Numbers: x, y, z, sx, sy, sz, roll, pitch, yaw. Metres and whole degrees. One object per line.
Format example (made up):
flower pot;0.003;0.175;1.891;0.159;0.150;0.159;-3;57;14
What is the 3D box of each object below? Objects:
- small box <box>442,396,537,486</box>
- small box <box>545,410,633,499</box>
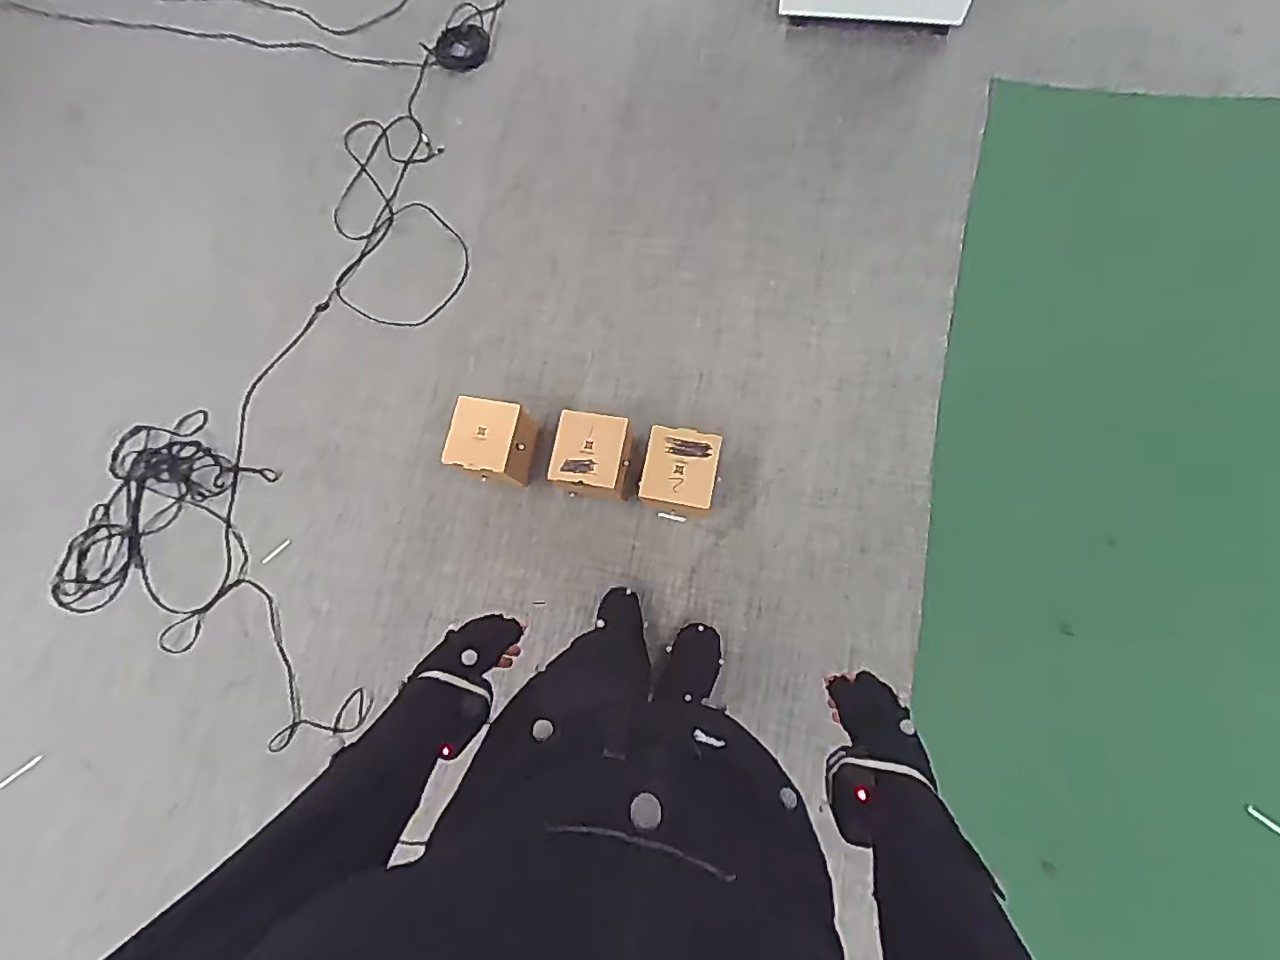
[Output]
small box;-0.379;-0.096;1.399;0.168;0.176;0.179;10;79;10
small box;-0.119;-0.057;1.354;0.168;0.176;0.179;9;78;10
